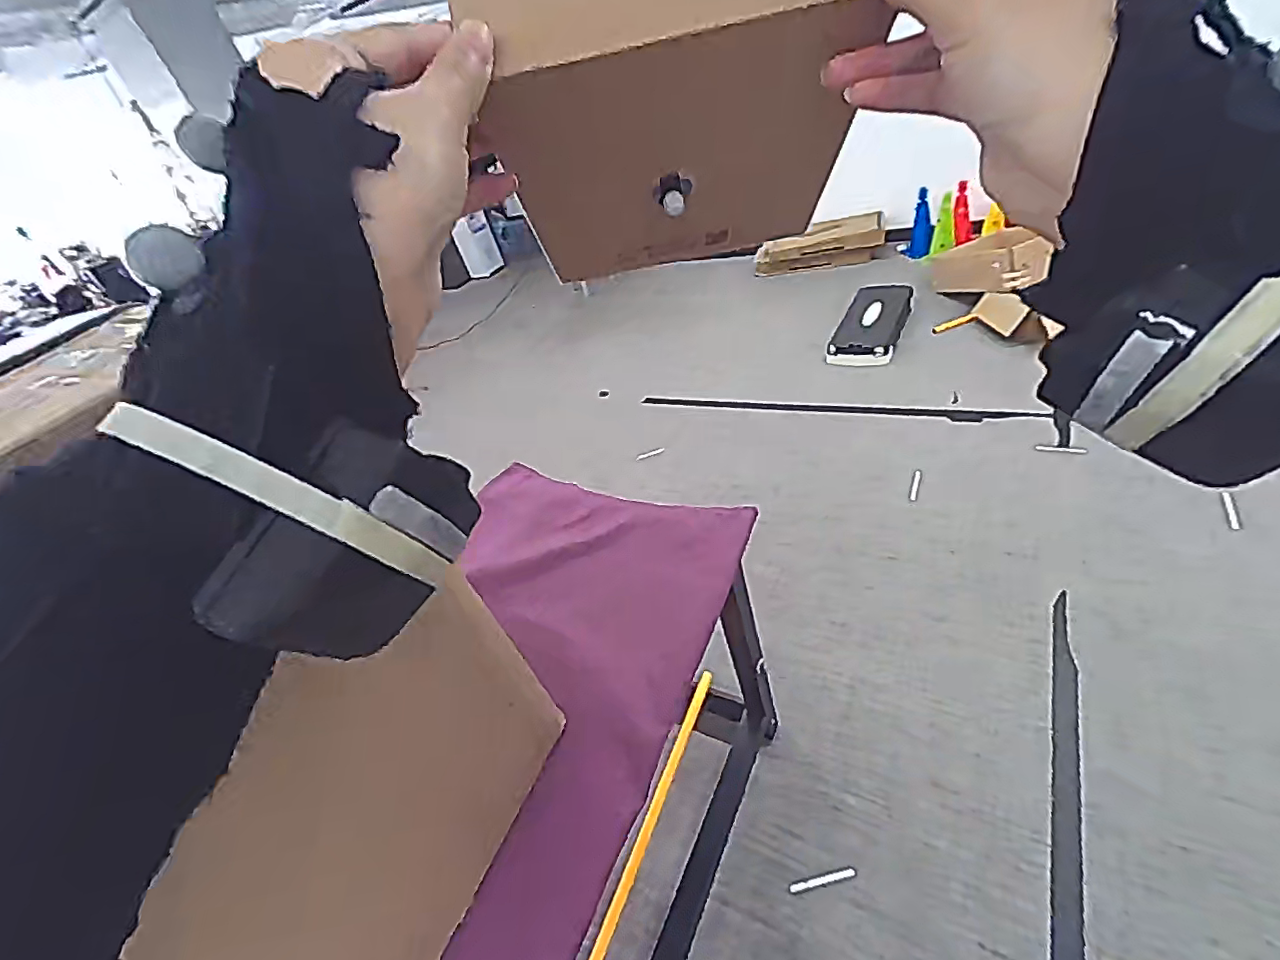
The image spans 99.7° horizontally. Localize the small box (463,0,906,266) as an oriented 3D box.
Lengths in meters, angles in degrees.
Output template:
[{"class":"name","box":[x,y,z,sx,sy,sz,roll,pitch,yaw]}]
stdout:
[{"class":"small box","box":[0.012,-0.235,0.286,0.168,0.179,0.176,-10,-6,3]}]
